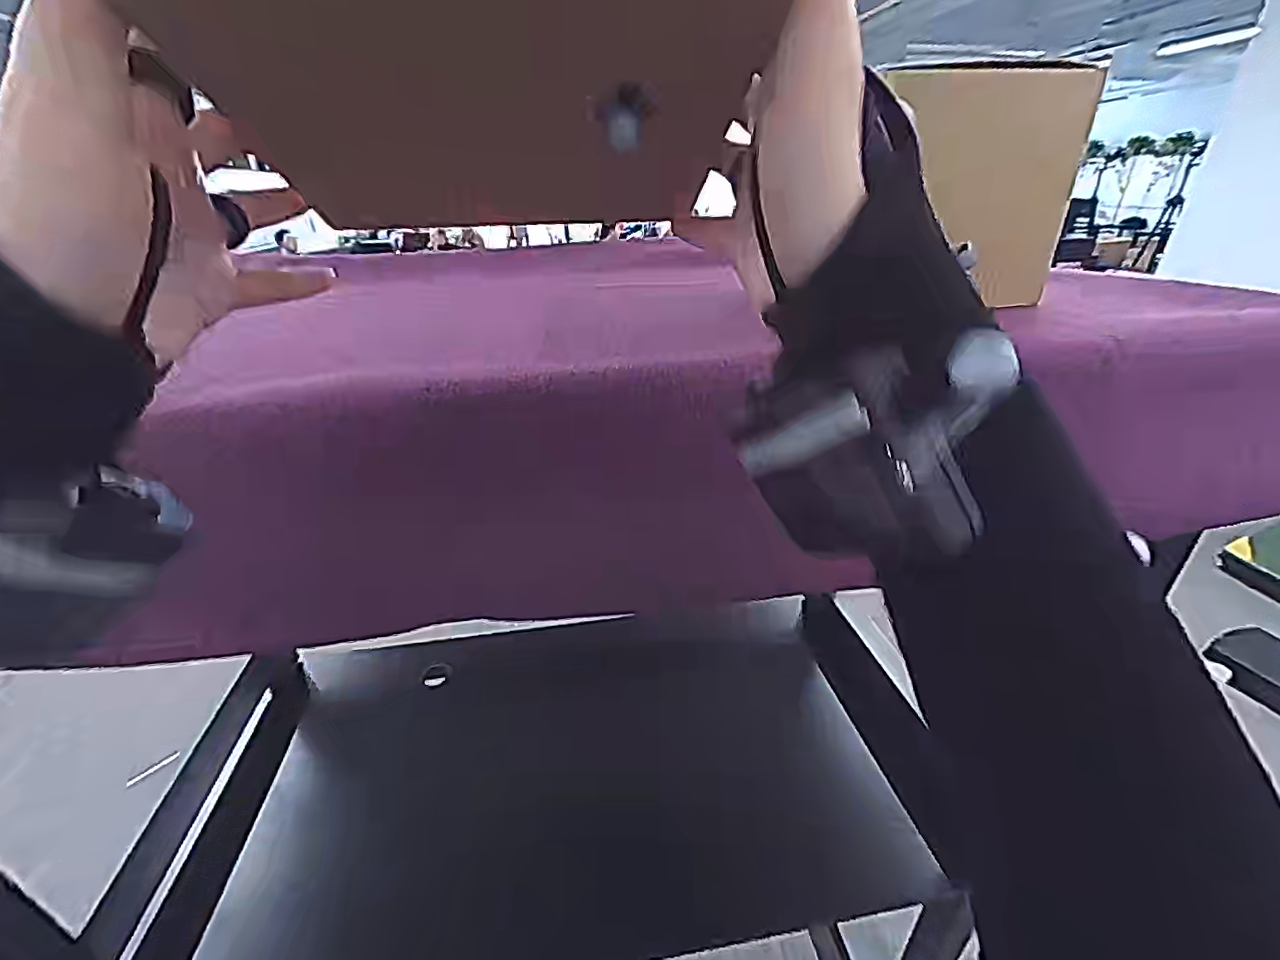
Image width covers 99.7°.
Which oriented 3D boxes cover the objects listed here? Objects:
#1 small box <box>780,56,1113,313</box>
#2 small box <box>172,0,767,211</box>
[{"bbox_3d":[0.240,-0.249,0.477,0.179,0.176,0.168,-5,27,-7],"label":"small box"},{"bbox_3d":[-0.054,-0.216,0.190,0.179,0.168,0.176,-4,-2,-7],"label":"small box"}]
